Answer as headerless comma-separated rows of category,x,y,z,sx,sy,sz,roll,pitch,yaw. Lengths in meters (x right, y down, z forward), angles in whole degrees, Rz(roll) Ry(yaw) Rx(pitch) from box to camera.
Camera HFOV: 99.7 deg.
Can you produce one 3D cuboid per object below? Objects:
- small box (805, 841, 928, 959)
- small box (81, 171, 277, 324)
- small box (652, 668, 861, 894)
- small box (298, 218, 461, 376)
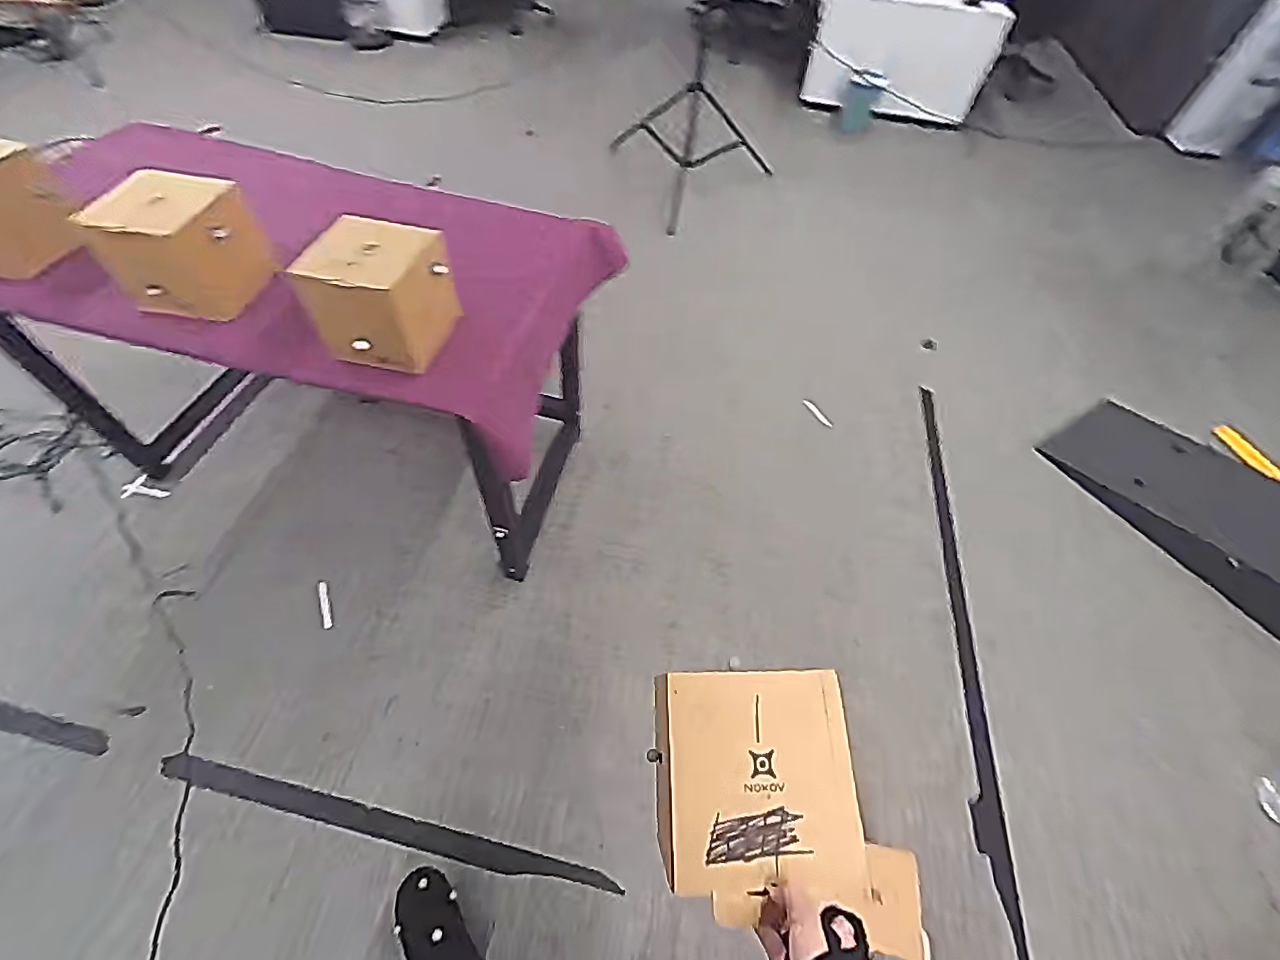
small box,0.439,0.828,1.077,0.179,0.176,0.168,12,56,3
small box,-0.785,-0.406,0.951,0.168,0.176,0.179,9,55,2
small box,0.100,0.288,0.553,0.168,0.176,0.179,-1,68,-3
small box,-0.418,-0.306,0.908,0.168,0.176,0.179,12,54,5
